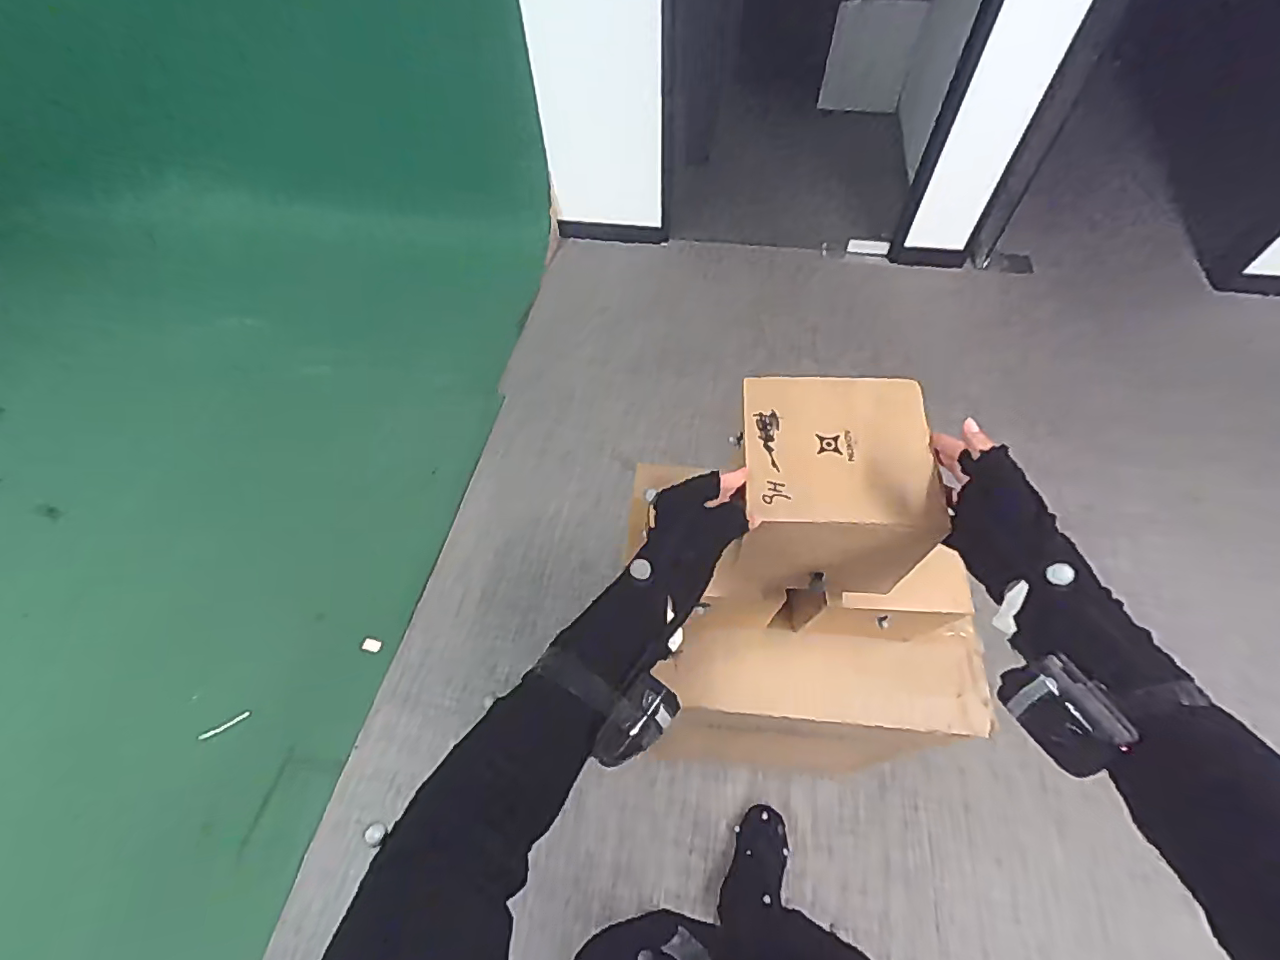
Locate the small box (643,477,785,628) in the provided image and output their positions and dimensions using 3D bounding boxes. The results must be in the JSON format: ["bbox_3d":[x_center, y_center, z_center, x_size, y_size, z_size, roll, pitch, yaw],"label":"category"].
[{"bbox_3d":[0.099,0.108,0.767,0.179,0.176,0.168,3,63,3],"label":"small box"}]

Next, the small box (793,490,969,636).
[{"bbox_3d":[0.313,0.118,0.753,0.179,0.176,0.168,2,64,2],"label":"small box"}]

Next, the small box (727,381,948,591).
[{"bbox_3d":[0.191,0.013,0.582,0.179,0.176,0.168,2,59,4],"label":"small box"}]
